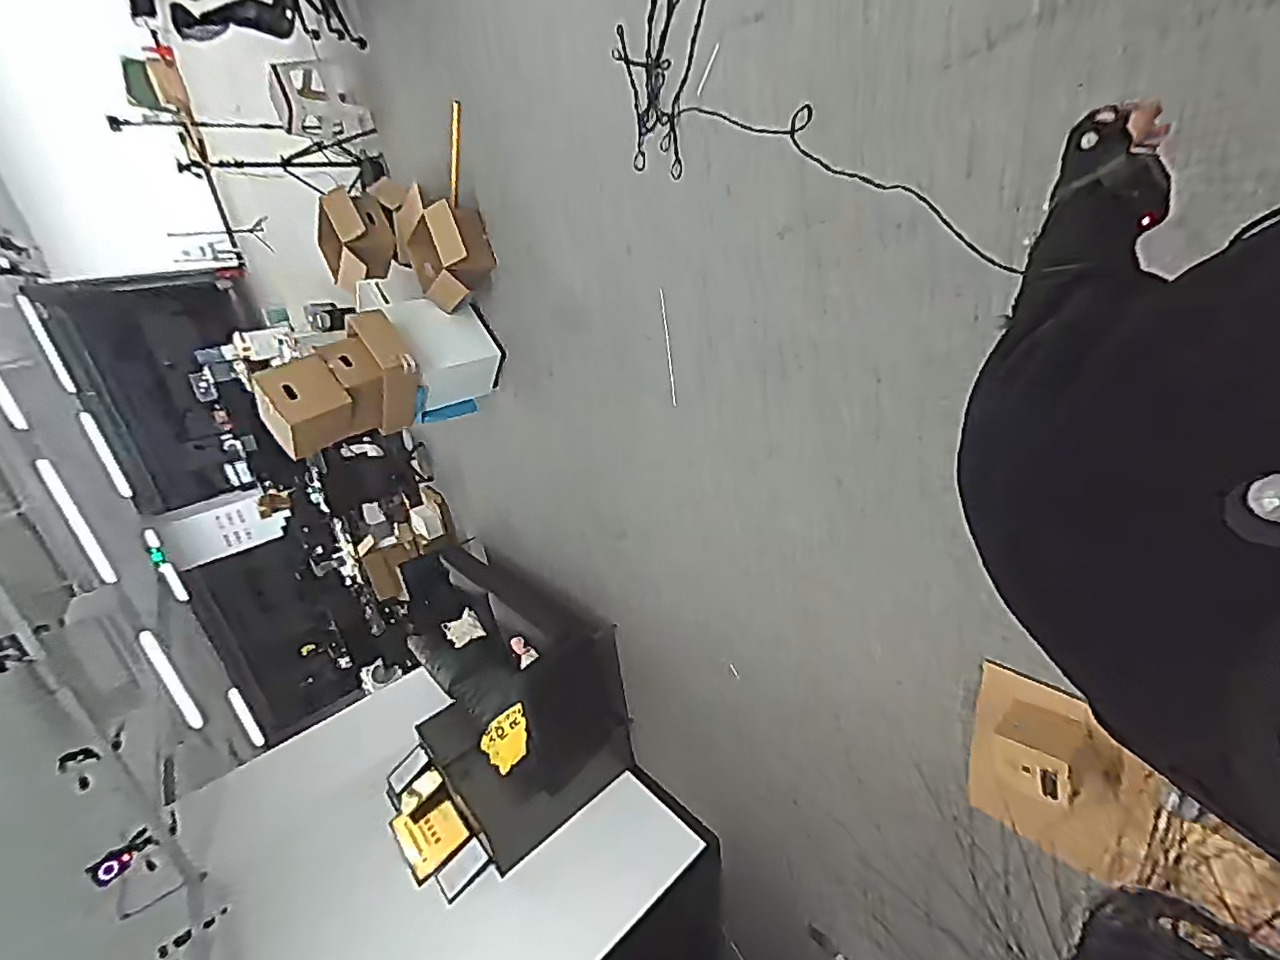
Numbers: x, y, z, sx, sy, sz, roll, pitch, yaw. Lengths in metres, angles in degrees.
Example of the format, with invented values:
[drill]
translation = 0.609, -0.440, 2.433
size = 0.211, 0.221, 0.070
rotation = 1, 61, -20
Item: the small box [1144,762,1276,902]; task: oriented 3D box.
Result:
[small box]
translation = 1.324, 0.805, 1.256
size = 0.168, 0.176, 0.179
rotation = 25, 129, 44
